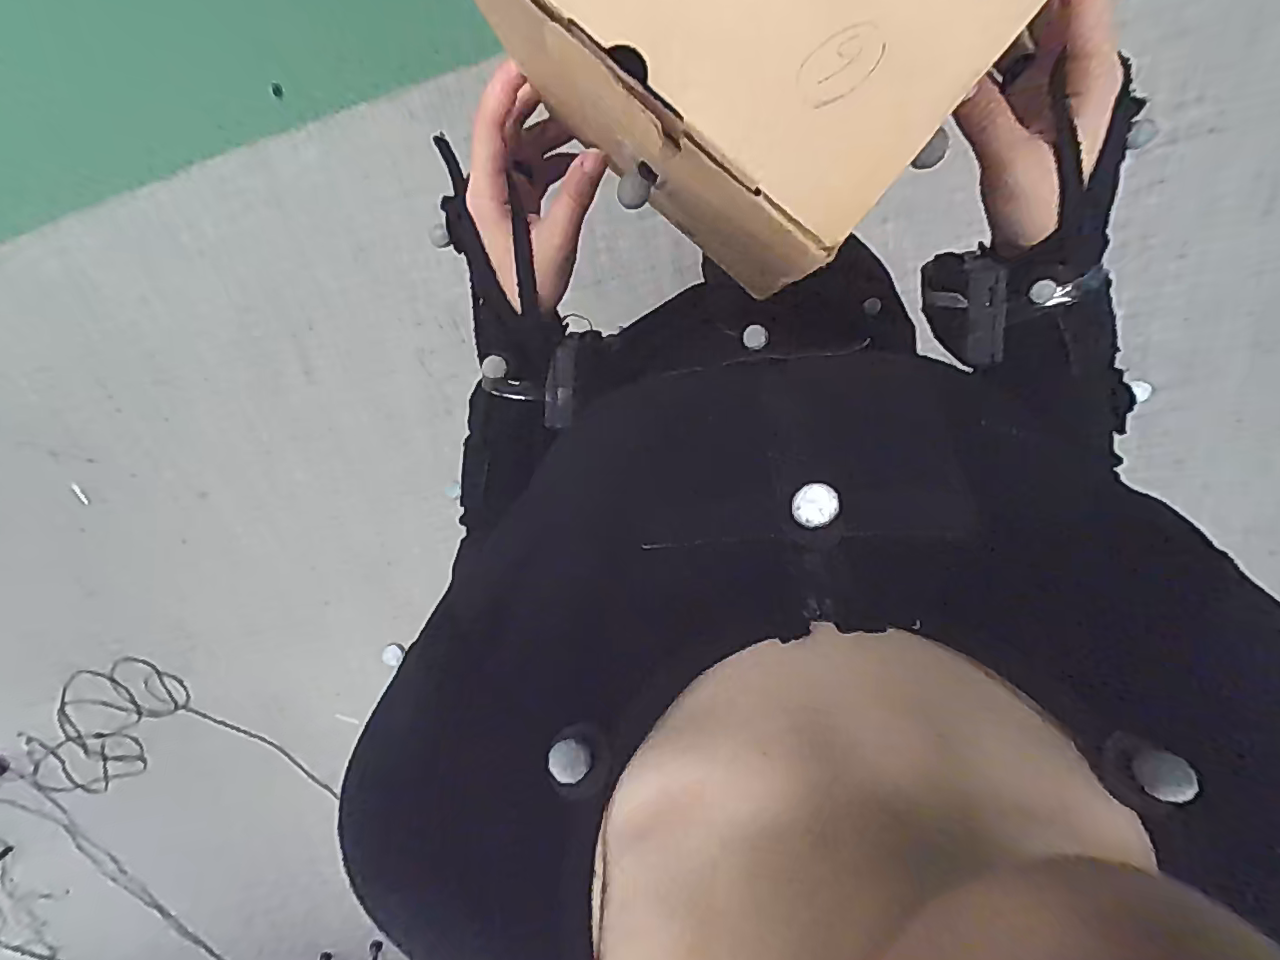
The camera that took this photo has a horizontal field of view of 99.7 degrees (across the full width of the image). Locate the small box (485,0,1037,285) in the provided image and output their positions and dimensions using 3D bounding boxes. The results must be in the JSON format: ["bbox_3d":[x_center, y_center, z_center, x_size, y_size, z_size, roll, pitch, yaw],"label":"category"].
[{"bbox_3d":[0.060,-0.206,0.231,0.168,0.176,0.179,39,105,-4],"label":"small box"}]
